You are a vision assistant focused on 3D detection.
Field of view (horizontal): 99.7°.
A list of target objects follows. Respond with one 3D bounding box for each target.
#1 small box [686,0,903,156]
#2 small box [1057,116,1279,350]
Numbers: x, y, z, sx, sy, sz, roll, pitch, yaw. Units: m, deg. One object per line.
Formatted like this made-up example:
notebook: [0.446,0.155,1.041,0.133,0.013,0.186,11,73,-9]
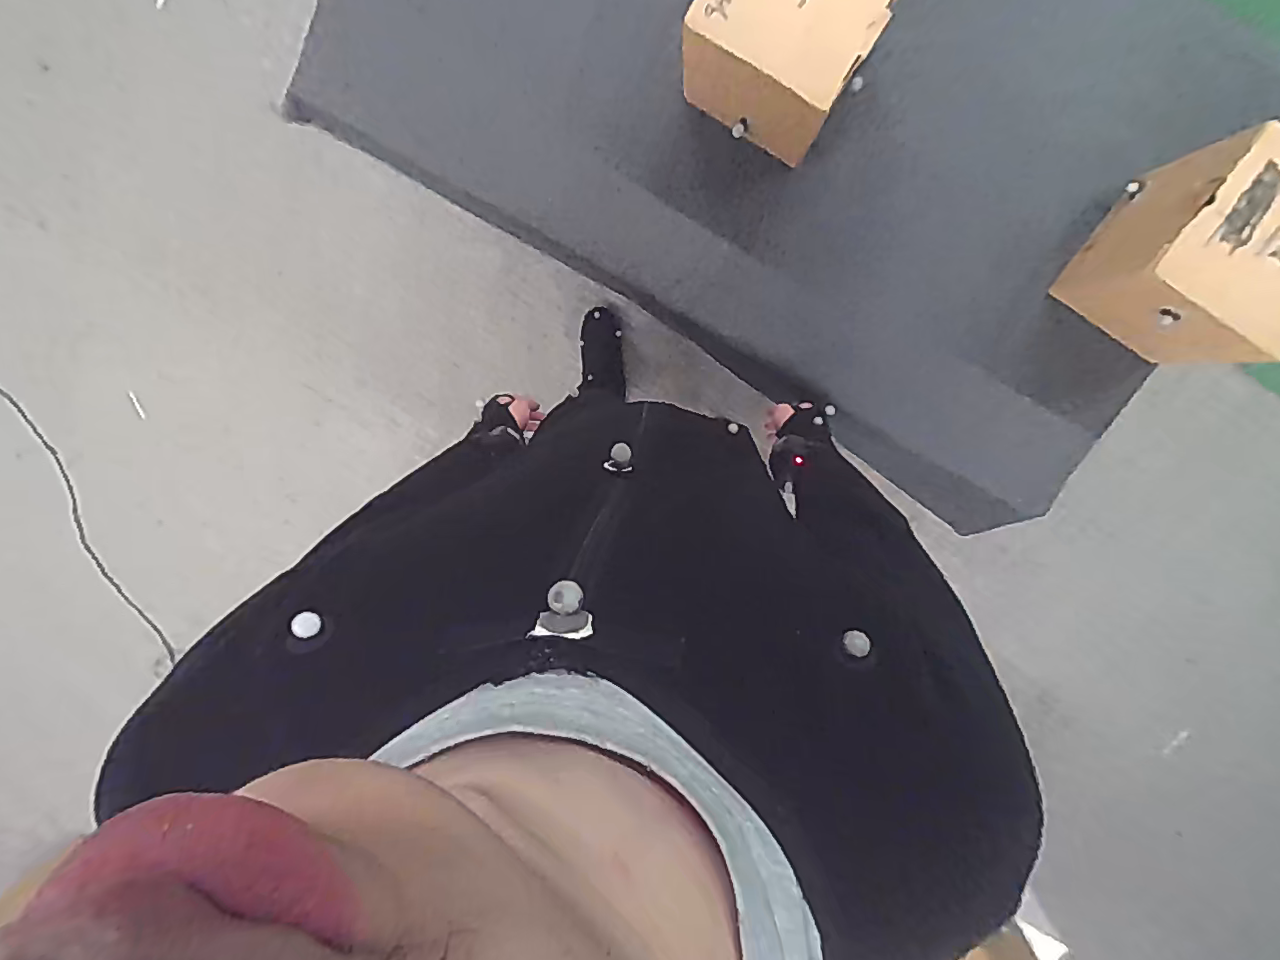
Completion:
small box: [0.167,-0.499,0.603,0.179,0.176,0.168,30,101,-4]
small box: [0.650,-0.261,0.626,0.179,0.176,0.168,31,102,-4]
